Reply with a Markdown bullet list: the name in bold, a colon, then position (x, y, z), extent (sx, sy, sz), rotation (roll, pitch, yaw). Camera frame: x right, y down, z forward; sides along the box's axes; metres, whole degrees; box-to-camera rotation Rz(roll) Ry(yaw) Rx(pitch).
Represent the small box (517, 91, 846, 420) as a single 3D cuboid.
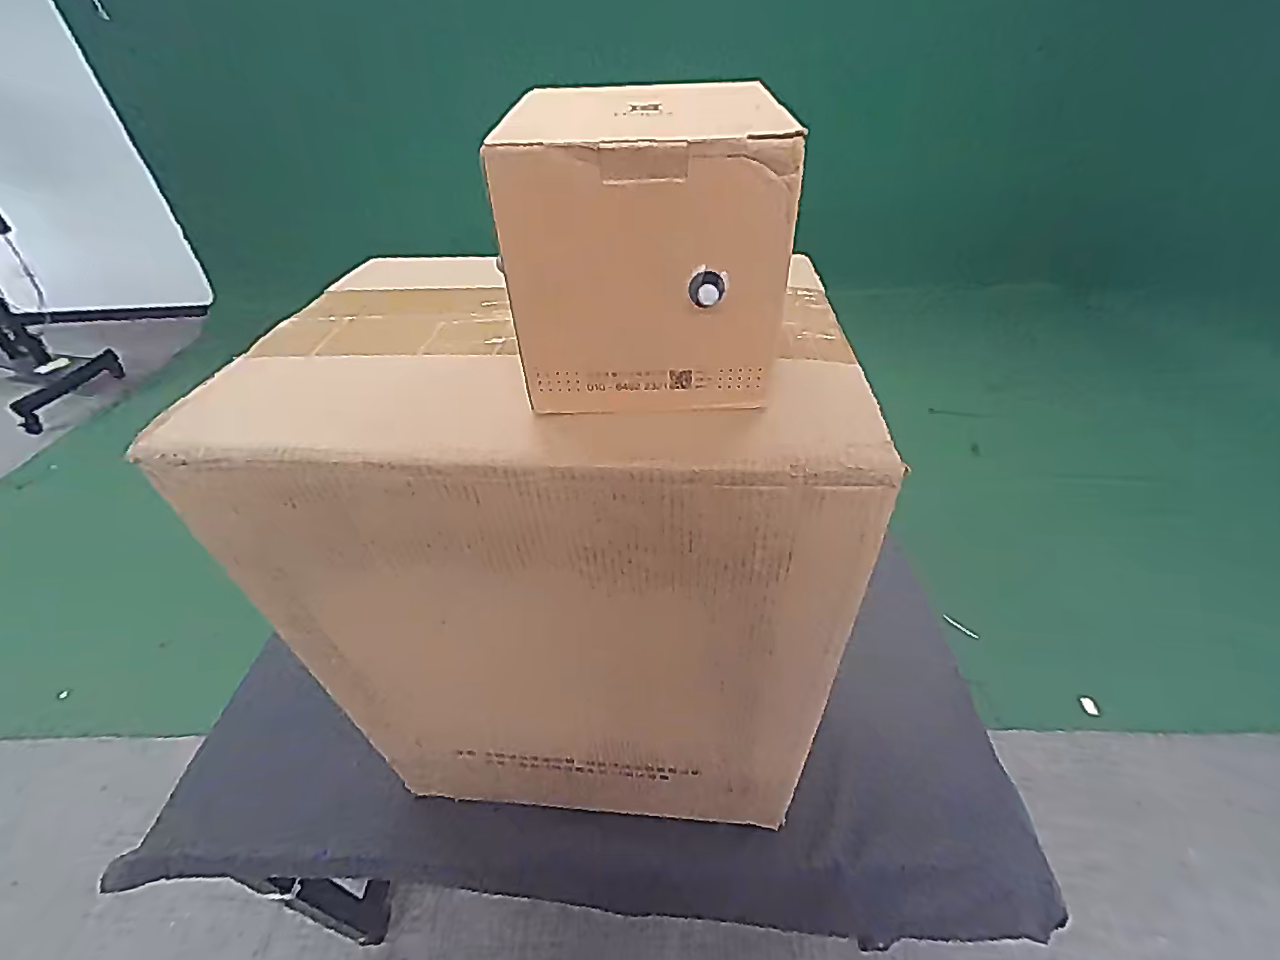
- **small box**: position (0.021, -0.155, 0.377), extent (0.168, 0.176, 0.179), rotation (1, 43, -1)
